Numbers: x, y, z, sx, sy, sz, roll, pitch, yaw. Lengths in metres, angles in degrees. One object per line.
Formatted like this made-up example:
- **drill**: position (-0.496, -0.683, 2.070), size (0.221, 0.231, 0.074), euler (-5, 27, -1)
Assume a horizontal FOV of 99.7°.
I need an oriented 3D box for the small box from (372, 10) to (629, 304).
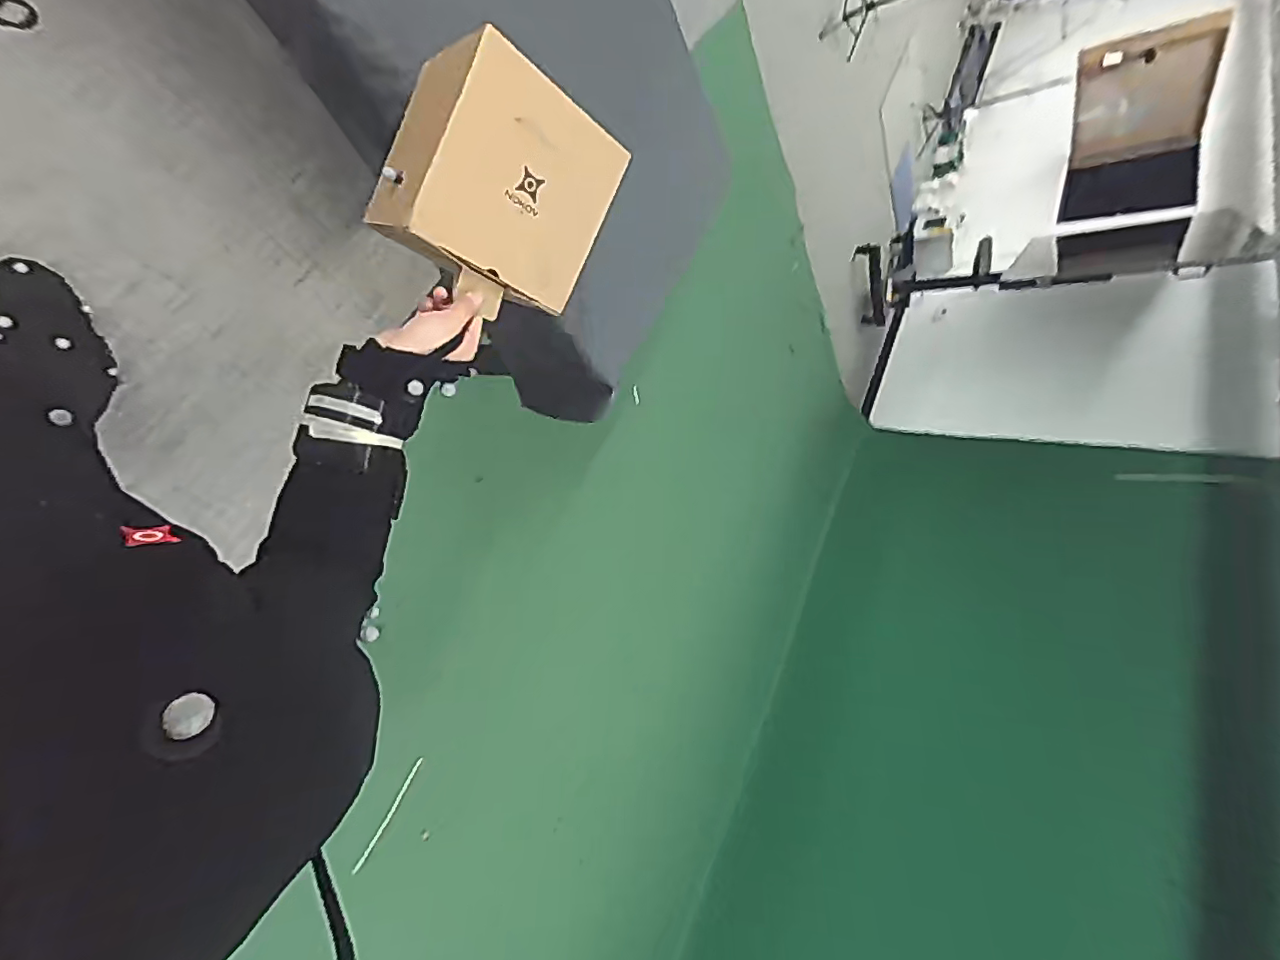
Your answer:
- **small box**: position (-0.149, -0.305, 0.547), size (0.168, 0.176, 0.179), euler (19, 98, -45)
